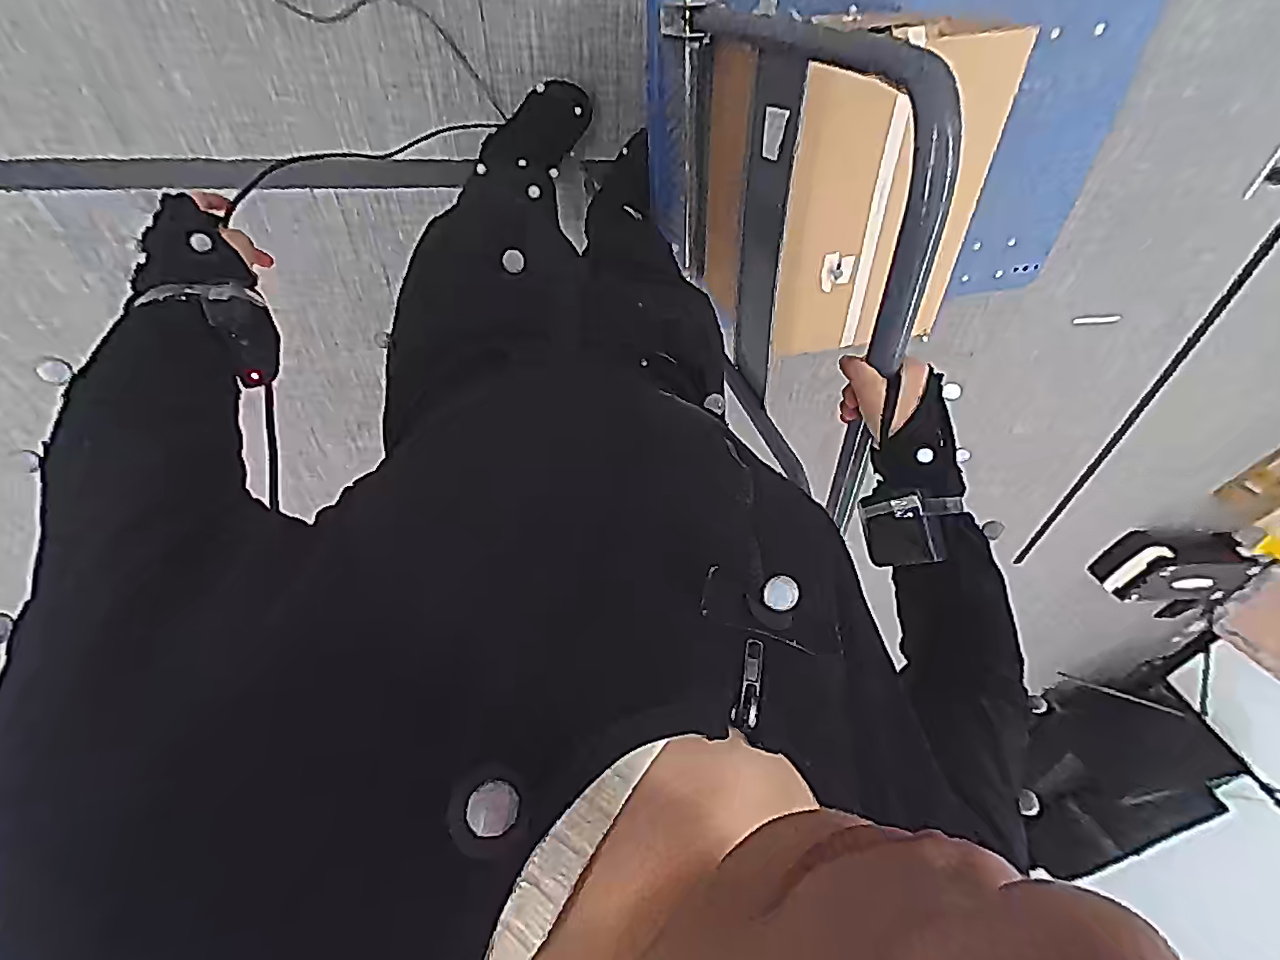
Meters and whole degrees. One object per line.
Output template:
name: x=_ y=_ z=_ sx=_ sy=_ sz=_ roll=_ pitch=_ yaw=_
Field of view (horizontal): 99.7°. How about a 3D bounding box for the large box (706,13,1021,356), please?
large box: x=0.297 y=-0.473 z=0.877 sx=0.320 sy=0.320 sz=0.408 roll=-9 pitch=135 yaw=-5
